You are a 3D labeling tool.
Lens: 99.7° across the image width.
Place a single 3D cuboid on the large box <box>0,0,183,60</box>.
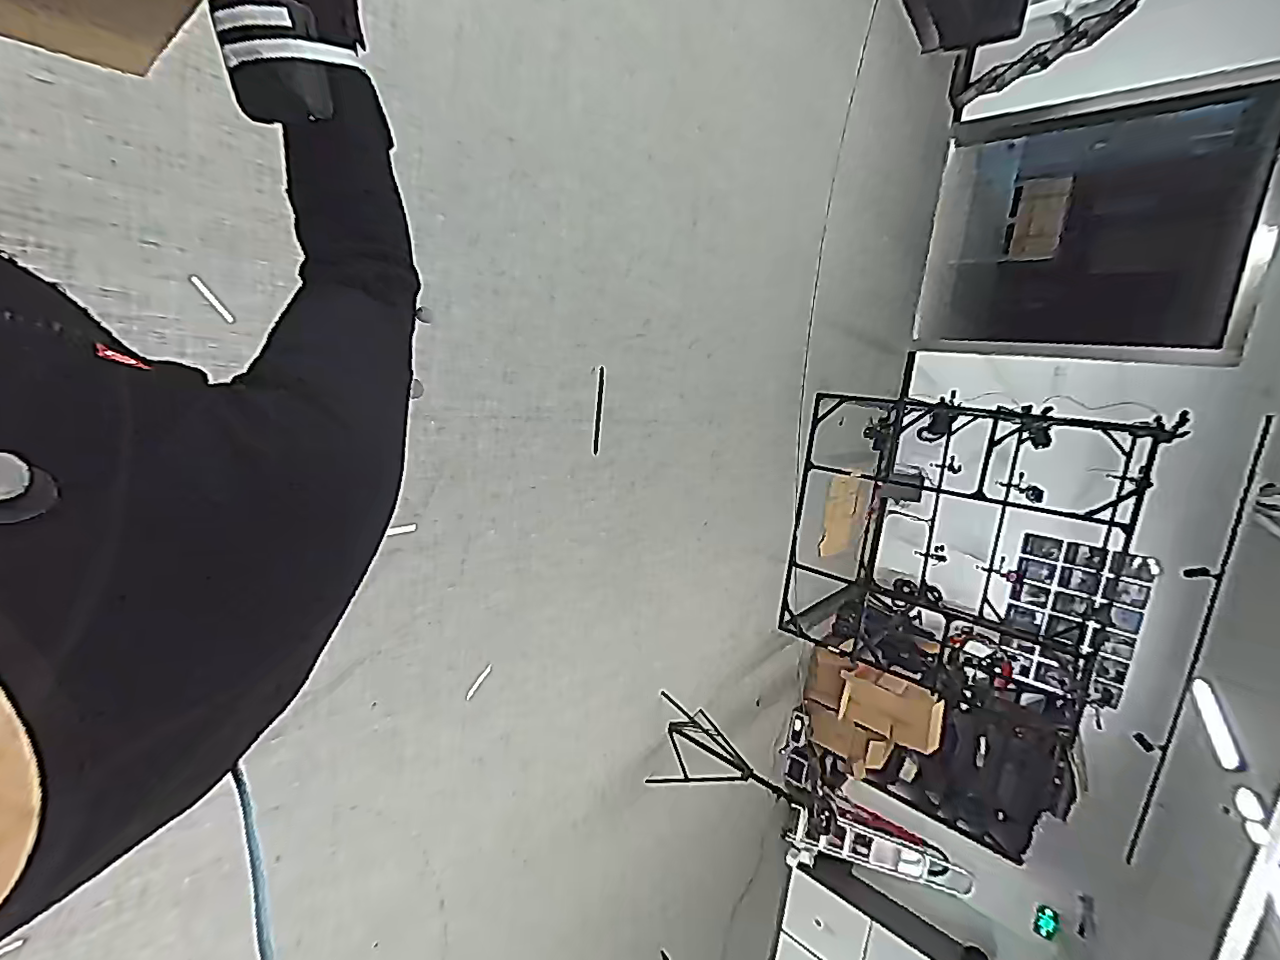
[{"bbox_3d":[-0.475,-0.460,0.225,0.408,0.320,0.320,-14,116,-48],"label":"large box"}]
